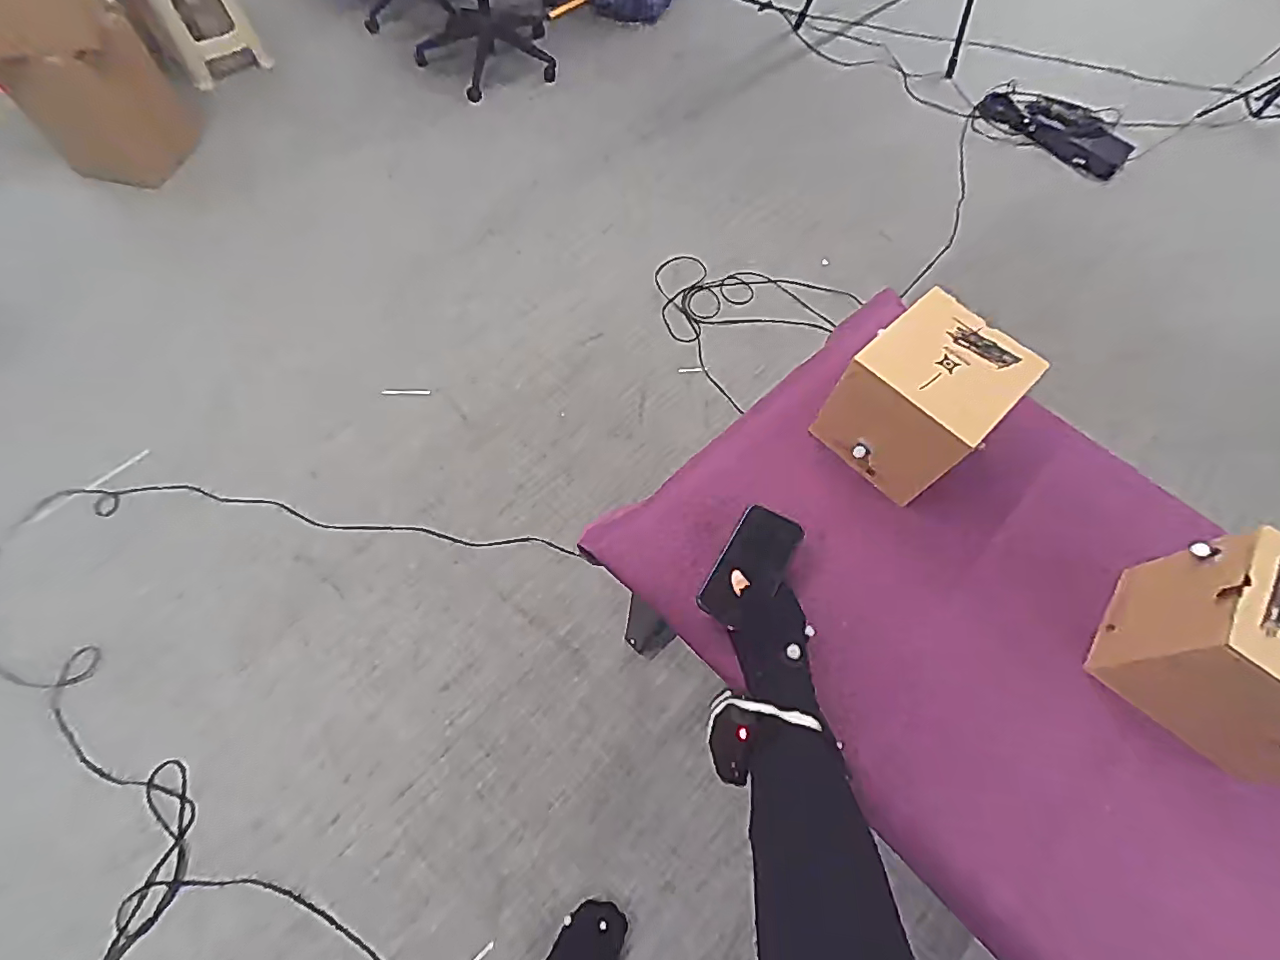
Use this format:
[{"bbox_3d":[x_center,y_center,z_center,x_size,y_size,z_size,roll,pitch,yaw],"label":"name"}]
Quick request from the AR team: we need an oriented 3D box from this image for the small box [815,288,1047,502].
[{"bbox_3d":[0.359,-0.104,0.703,0.179,0.176,0.168,-39,72,-19],"label":"small box"}]
